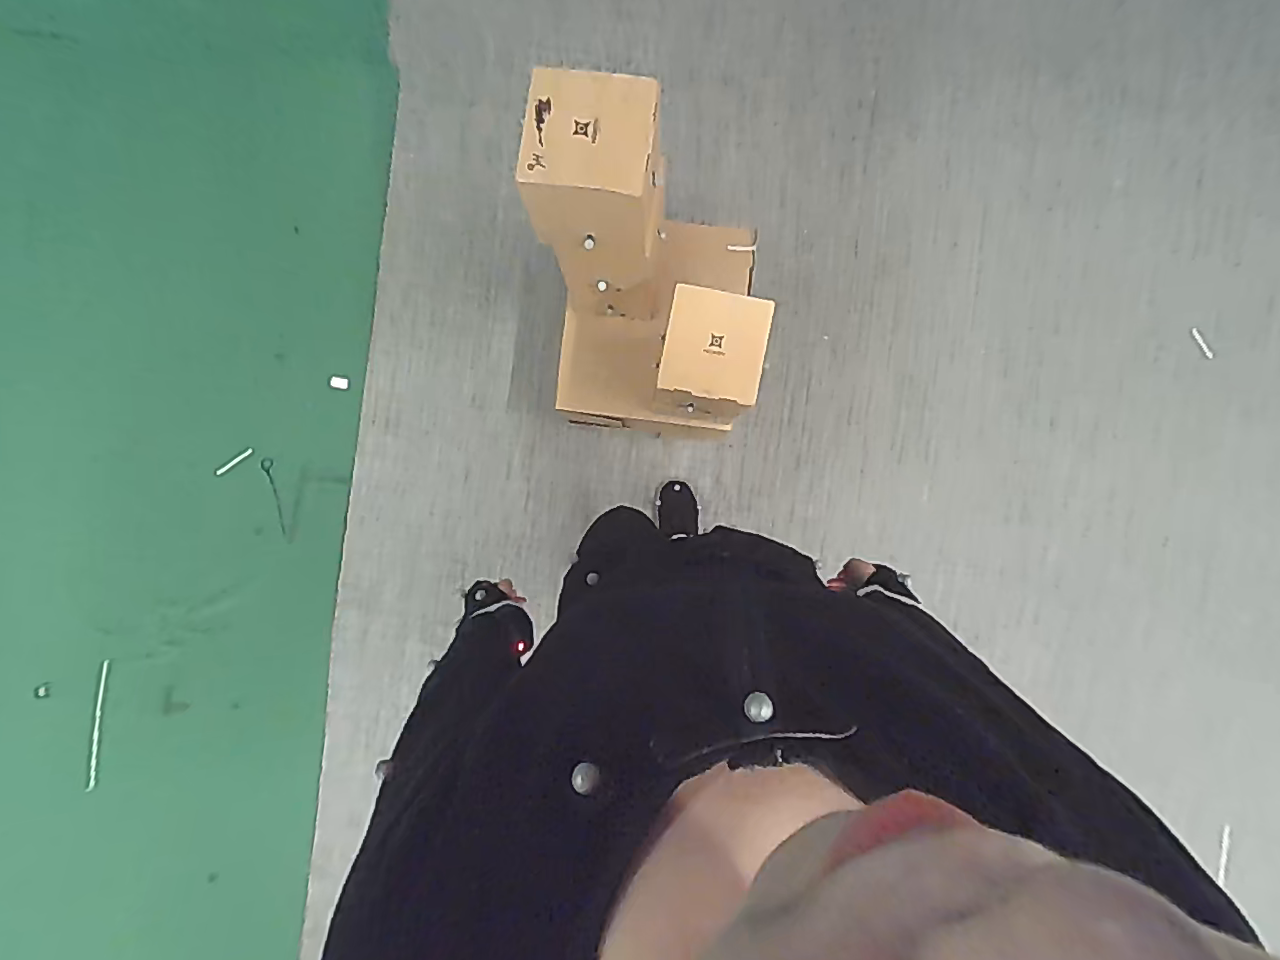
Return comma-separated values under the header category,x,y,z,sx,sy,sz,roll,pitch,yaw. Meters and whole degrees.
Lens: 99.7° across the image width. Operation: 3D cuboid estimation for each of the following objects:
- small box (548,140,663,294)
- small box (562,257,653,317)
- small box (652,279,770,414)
category,x,y,z,sx,sy,sz,roll,pitch,yaw
small box,-0.057,-0.458,0.963,0.168,0.176,0.179,9,87,2
small box,-0.060,-0.464,1.129,0.168,0.176,0.179,7,86,2
small box,0.116,-0.226,0.955,0.168,0.176,0.179,10,89,0
